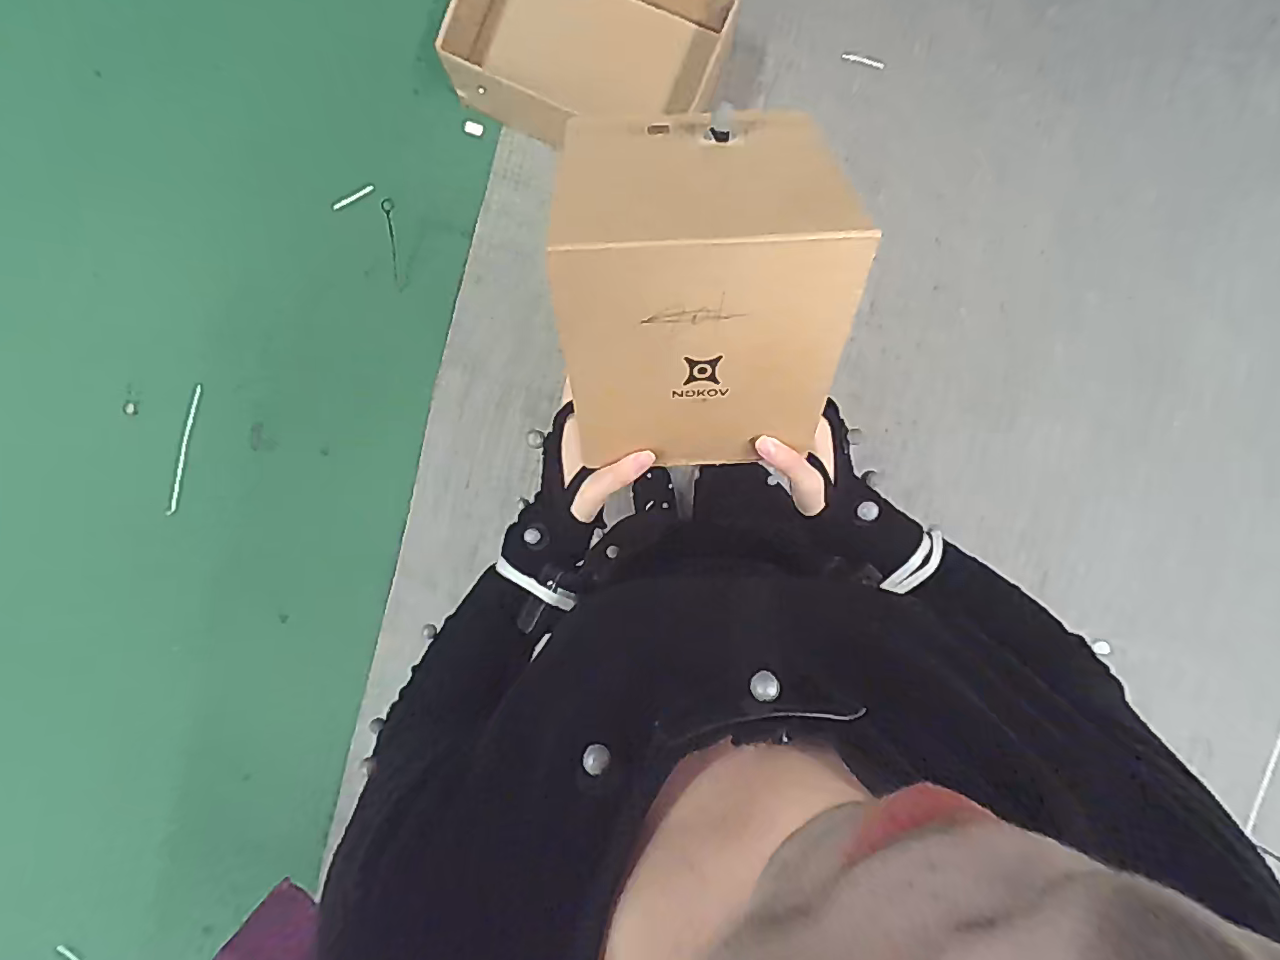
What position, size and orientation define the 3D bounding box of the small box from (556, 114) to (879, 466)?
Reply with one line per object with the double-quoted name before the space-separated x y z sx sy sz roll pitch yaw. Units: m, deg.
"small box" 0.040 -0.128 0.382 0.168 0.179 0.176 -2 52 0
